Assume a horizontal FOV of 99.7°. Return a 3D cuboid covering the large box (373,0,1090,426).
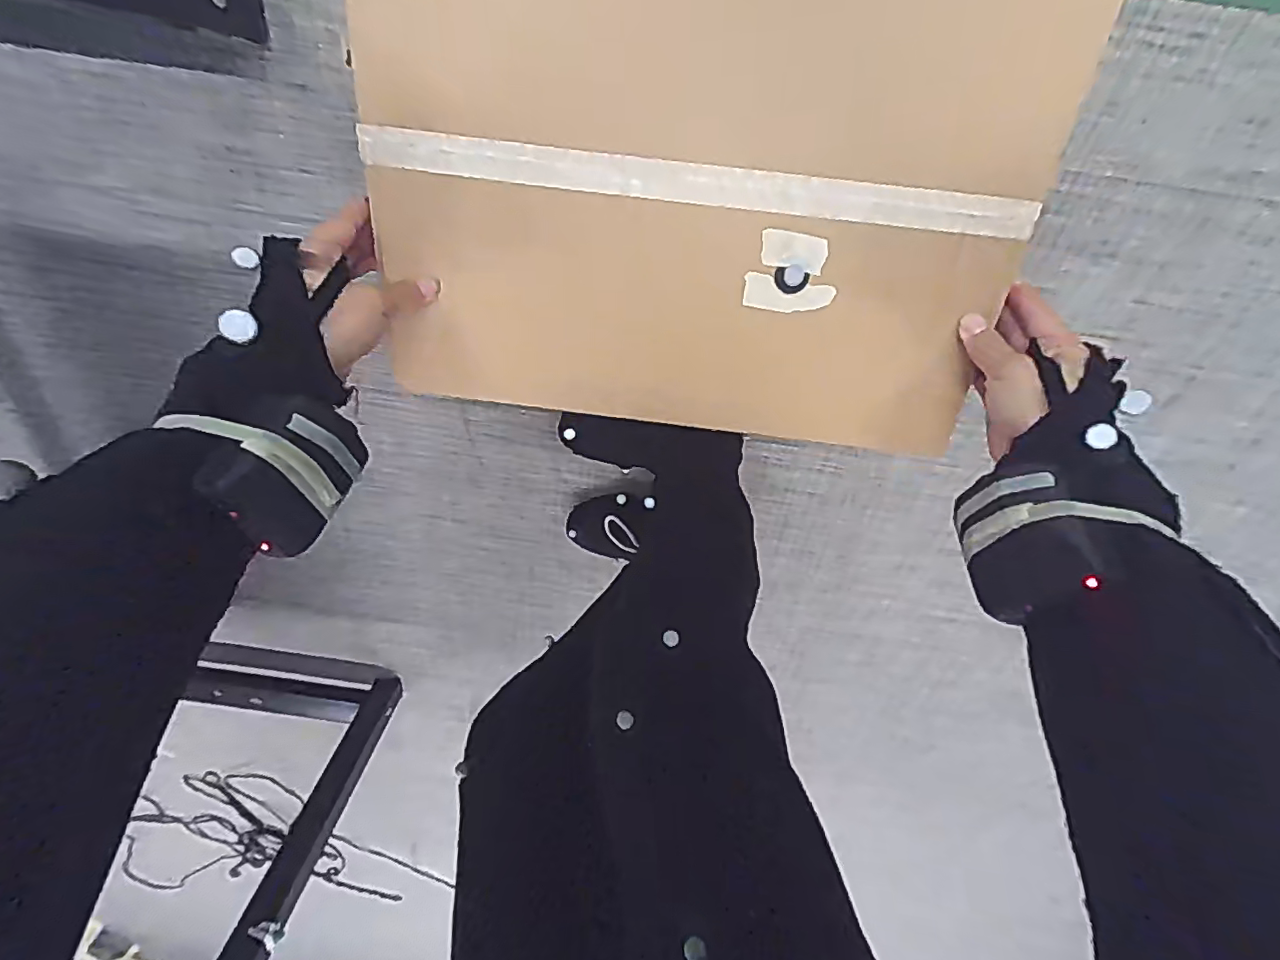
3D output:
[{"bbox_3d":[0.044,-0.260,0.472,0.408,0.320,0.320,6,118,0],"label":"large box"}]
